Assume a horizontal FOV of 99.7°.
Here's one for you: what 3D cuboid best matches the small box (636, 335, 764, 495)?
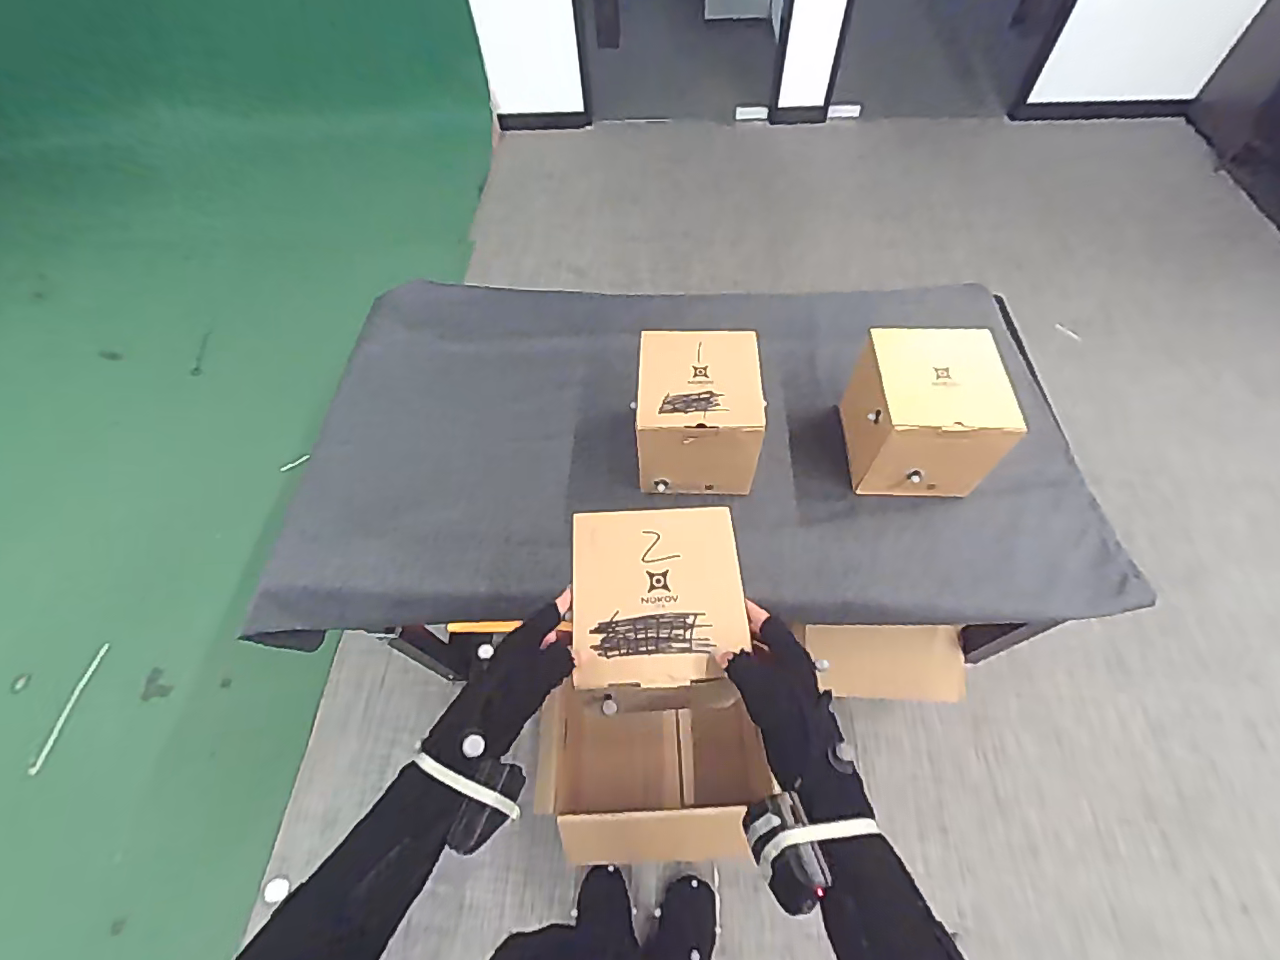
[{"bbox_3d":[0.084,-0.091,0.794,0.168,0.176,0.179,1,58,3],"label":"small box"}]

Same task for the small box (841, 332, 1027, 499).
[{"bbox_3d":[0.404,-0.090,0.782,0.168,0.176,0.179,1,59,3],"label":"small box"}]
